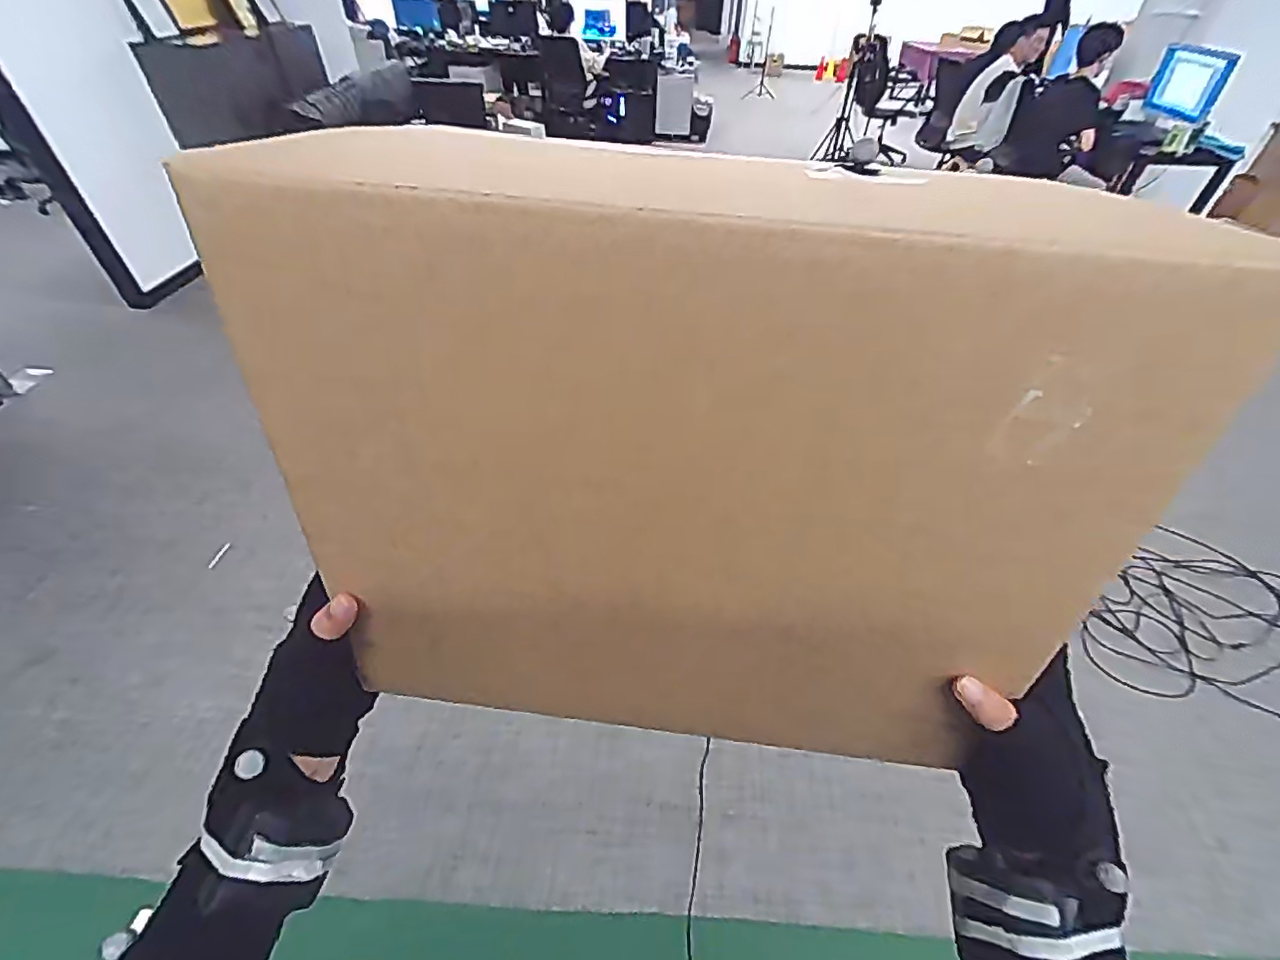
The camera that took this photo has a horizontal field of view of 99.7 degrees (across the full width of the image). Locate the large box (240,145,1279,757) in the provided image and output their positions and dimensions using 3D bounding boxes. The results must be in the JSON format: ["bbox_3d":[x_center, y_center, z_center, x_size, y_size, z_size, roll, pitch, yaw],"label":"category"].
[{"bbox_3d":[0.044,-0.042,0.400,0.408,0.320,0.320,7,35,1],"label":"large box"}]
